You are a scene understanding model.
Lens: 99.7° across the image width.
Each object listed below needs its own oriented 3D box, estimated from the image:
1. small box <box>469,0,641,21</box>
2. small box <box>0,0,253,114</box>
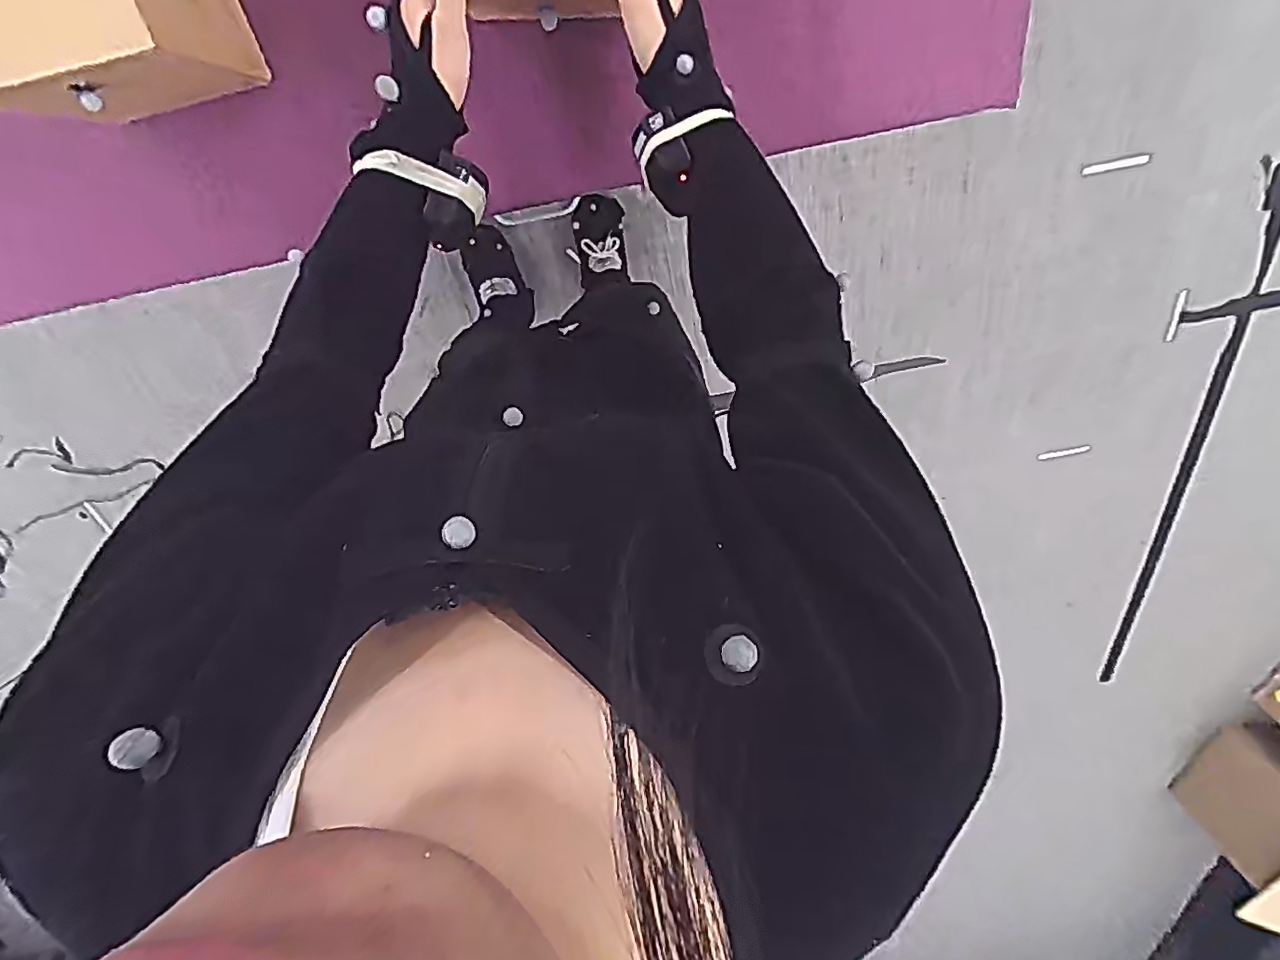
[{"bbox_3d":[-0.078,-0.481,0.411,0.168,0.176,0.179,-2,121,-2],"label":"small box"},{"bbox_3d":[-0.455,-0.408,0.428,0.179,0.176,0.168,-11,120,3],"label":"small box"}]
